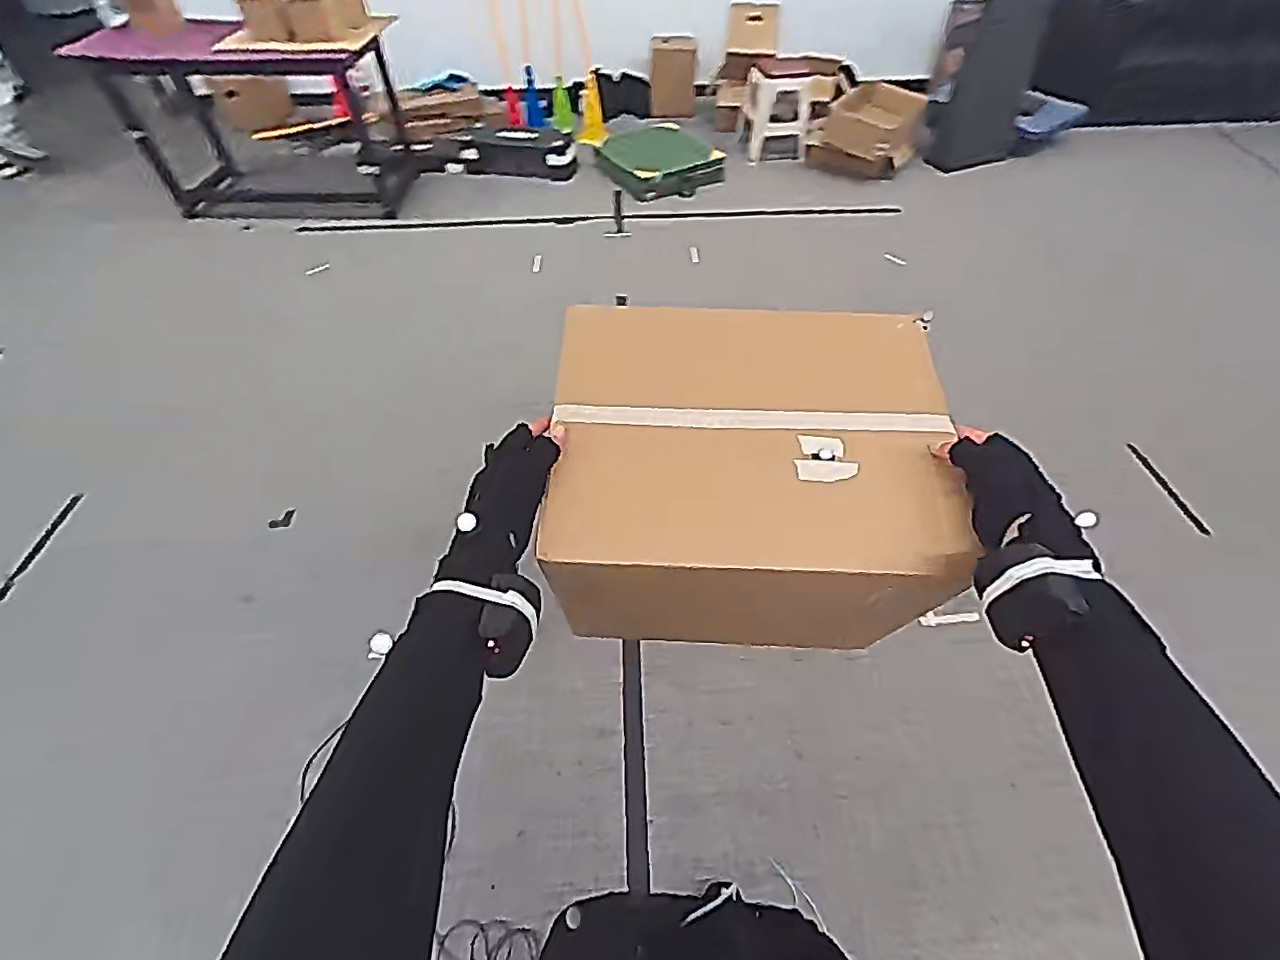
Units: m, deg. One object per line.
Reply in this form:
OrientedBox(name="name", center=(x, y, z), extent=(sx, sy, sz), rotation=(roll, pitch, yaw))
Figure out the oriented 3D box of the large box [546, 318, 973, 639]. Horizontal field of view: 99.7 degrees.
OrientedBox(name="large box", center=(0.110, 0.016, 0.696), extent=(0.408, 0.320, 0.320), rotation=(2, 62, 0))
